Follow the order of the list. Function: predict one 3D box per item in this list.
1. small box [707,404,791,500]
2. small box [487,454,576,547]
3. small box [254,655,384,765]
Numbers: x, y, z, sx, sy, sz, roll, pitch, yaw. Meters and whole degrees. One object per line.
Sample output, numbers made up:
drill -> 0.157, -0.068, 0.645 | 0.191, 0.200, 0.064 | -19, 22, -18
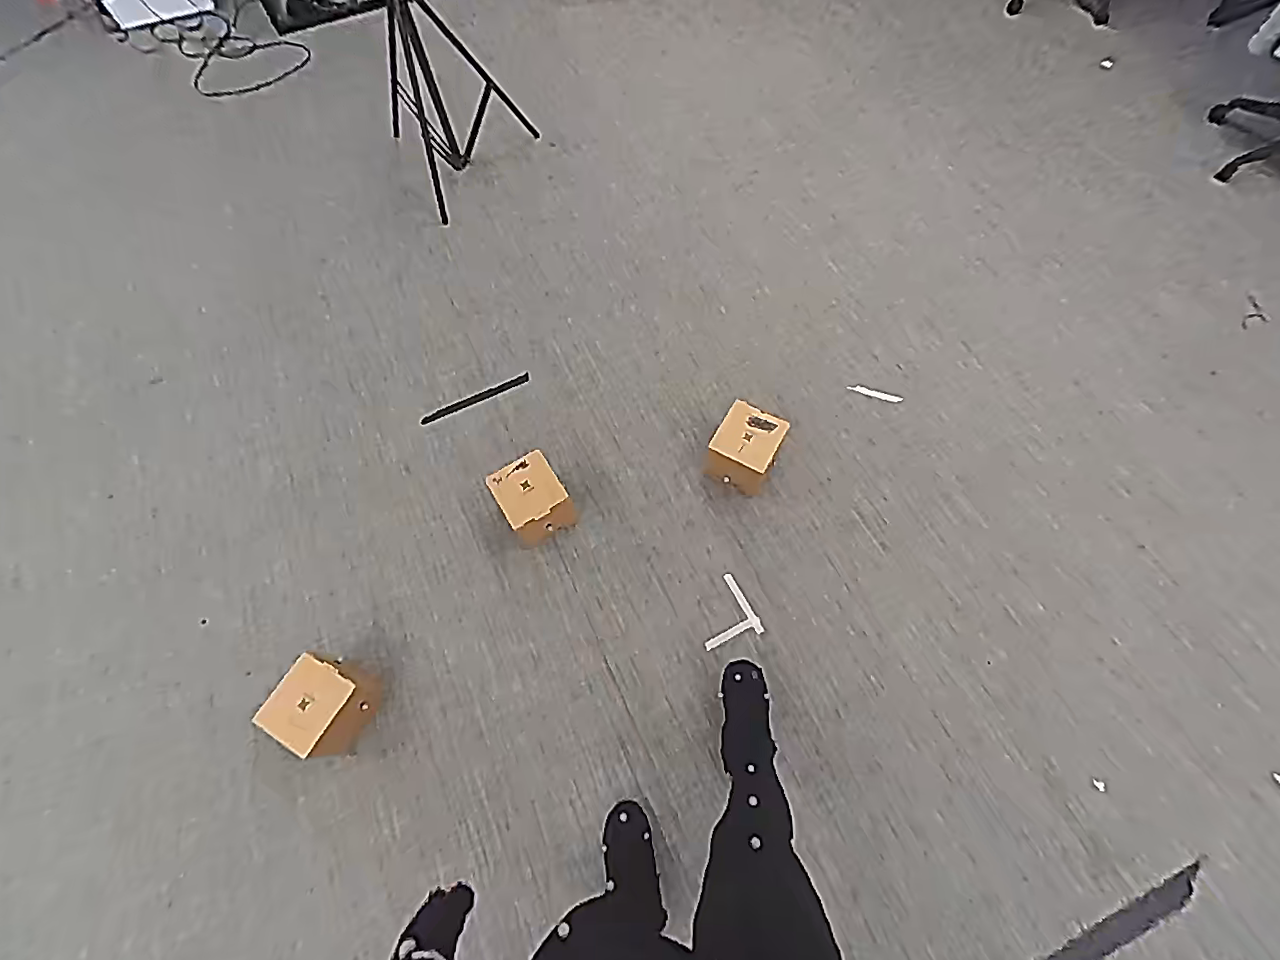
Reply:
small box -> 0.299, -0.075, 1.523 | 0.168, 0.176, 0.179 | 28, 70, 14
small box -> -0.289, 0.067, 1.480 | 0.168, 0.176, 0.179 | -31, 68, -12
small box -> -0.741, 0.541, 1.277 | 0.168, 0.176, 0.179 | 25, 69, 14
